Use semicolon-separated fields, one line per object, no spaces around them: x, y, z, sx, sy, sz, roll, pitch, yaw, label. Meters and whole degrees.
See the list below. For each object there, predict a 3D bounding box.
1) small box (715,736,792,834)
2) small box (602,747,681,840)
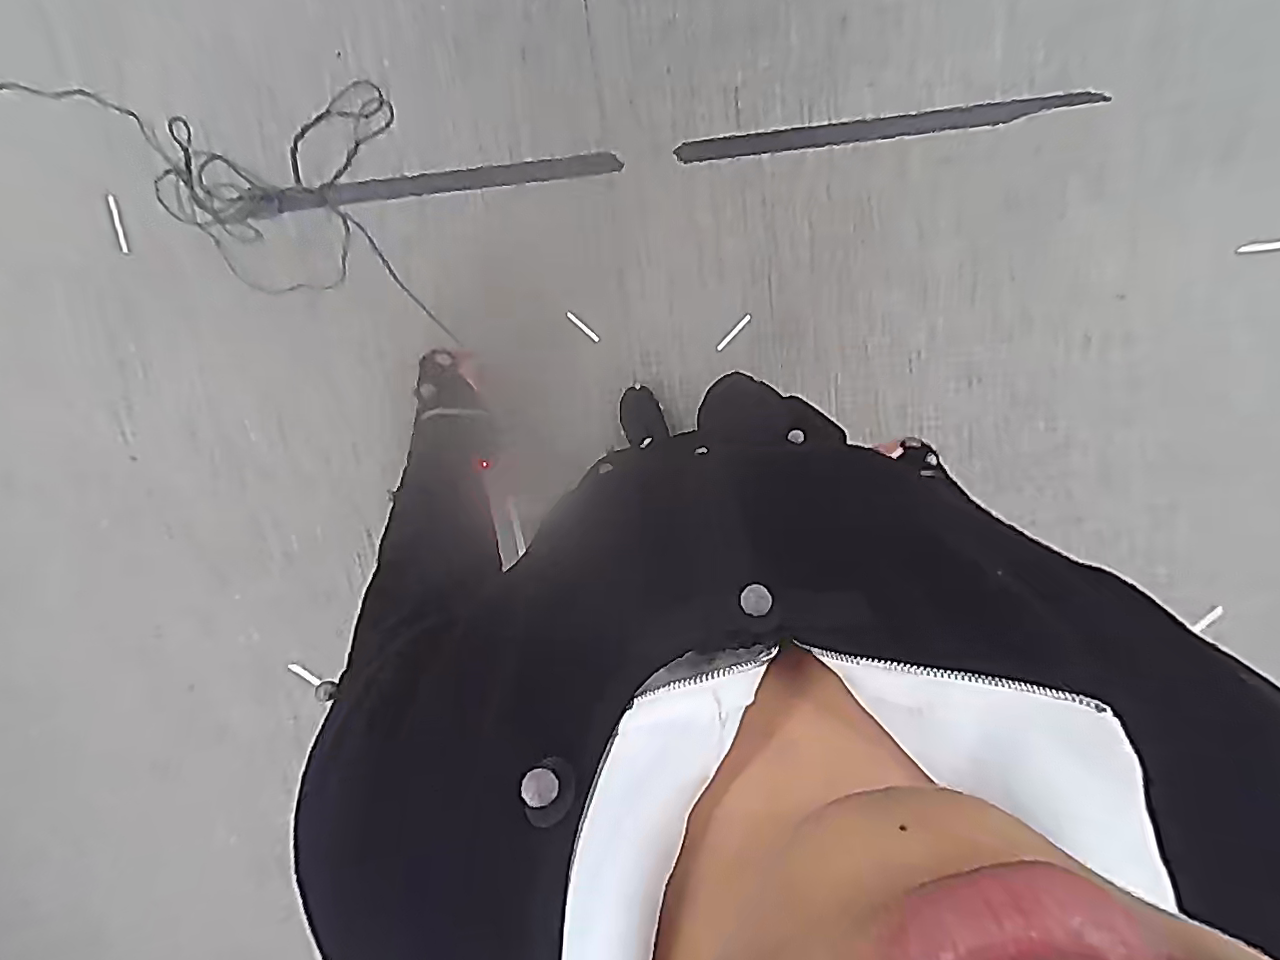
0.283;0.738;1.350;0.168;0.176;0.179;-9;100;2;small box
0.006;0.782;1.364;0.179;0.176;0.168;-6;100;1;small box
